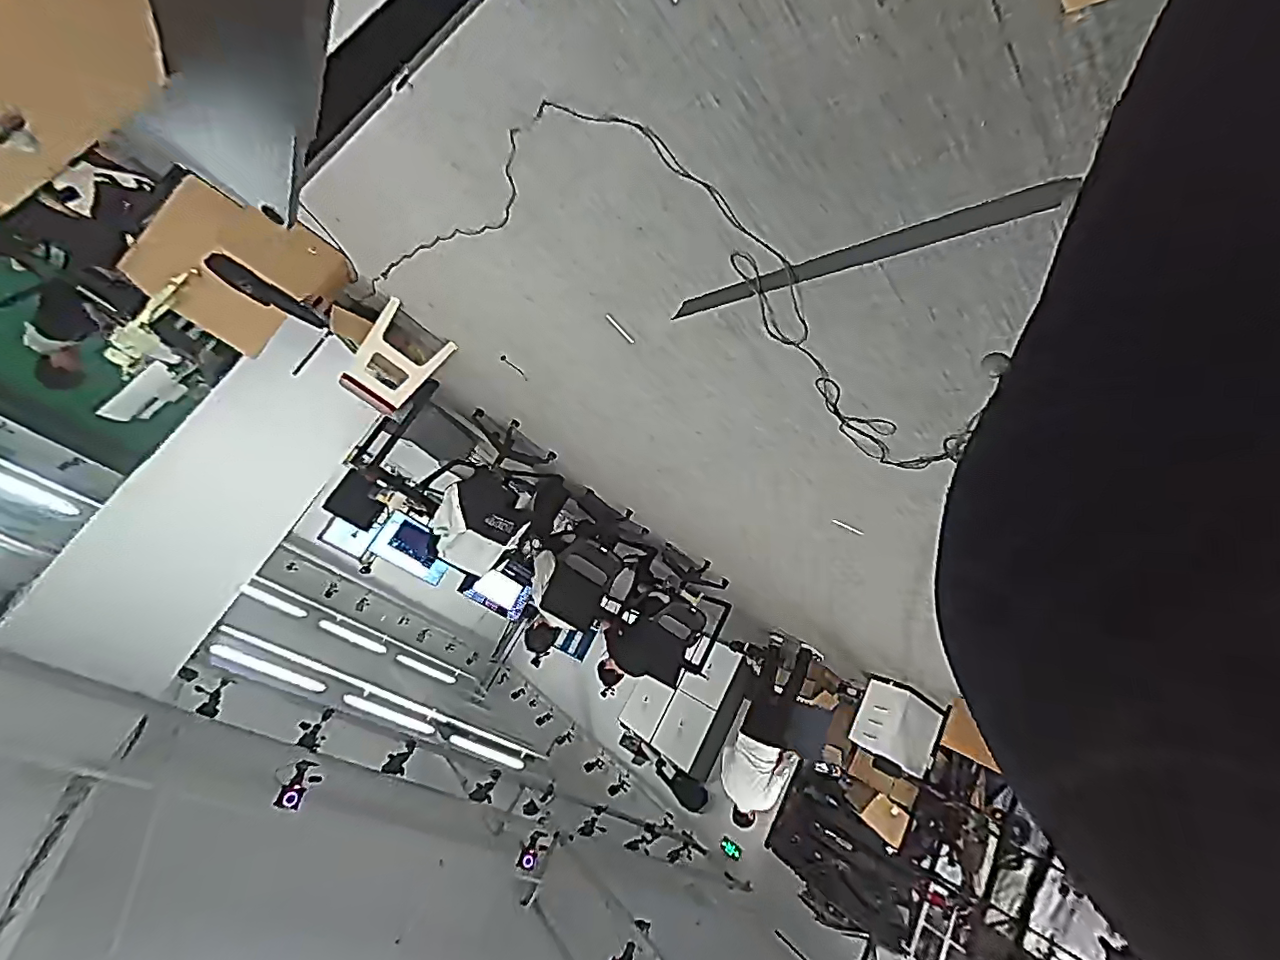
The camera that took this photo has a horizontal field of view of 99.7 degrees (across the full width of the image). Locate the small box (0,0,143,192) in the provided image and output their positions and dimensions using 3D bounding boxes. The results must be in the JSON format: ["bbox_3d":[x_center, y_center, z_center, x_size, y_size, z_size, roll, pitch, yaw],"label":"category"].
[{"bbox_3d":[-0.428,-0.294,0.297,0.168,0.176,0.179,39,160,-30],"label":"small box"}]
